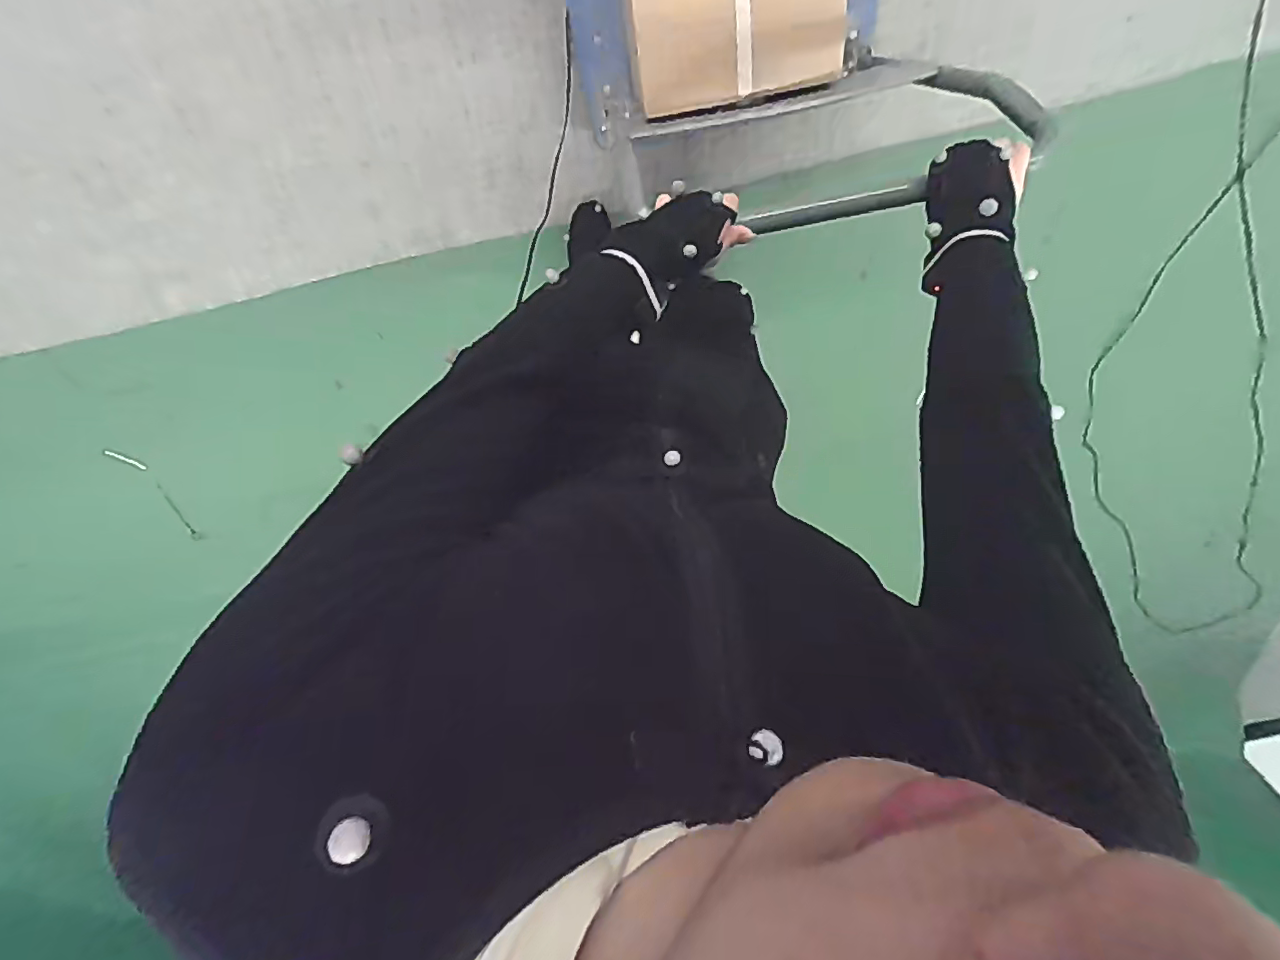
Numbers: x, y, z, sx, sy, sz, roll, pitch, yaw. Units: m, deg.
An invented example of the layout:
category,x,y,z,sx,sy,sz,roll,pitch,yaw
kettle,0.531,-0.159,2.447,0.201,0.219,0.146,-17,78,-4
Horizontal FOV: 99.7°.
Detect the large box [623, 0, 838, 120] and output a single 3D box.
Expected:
category,x,y,z,sx,sy,sz,roll,pitch,yaw
large box,0.118,-0.855,0.874,0.320,0.320,0.408,-10,126,3
